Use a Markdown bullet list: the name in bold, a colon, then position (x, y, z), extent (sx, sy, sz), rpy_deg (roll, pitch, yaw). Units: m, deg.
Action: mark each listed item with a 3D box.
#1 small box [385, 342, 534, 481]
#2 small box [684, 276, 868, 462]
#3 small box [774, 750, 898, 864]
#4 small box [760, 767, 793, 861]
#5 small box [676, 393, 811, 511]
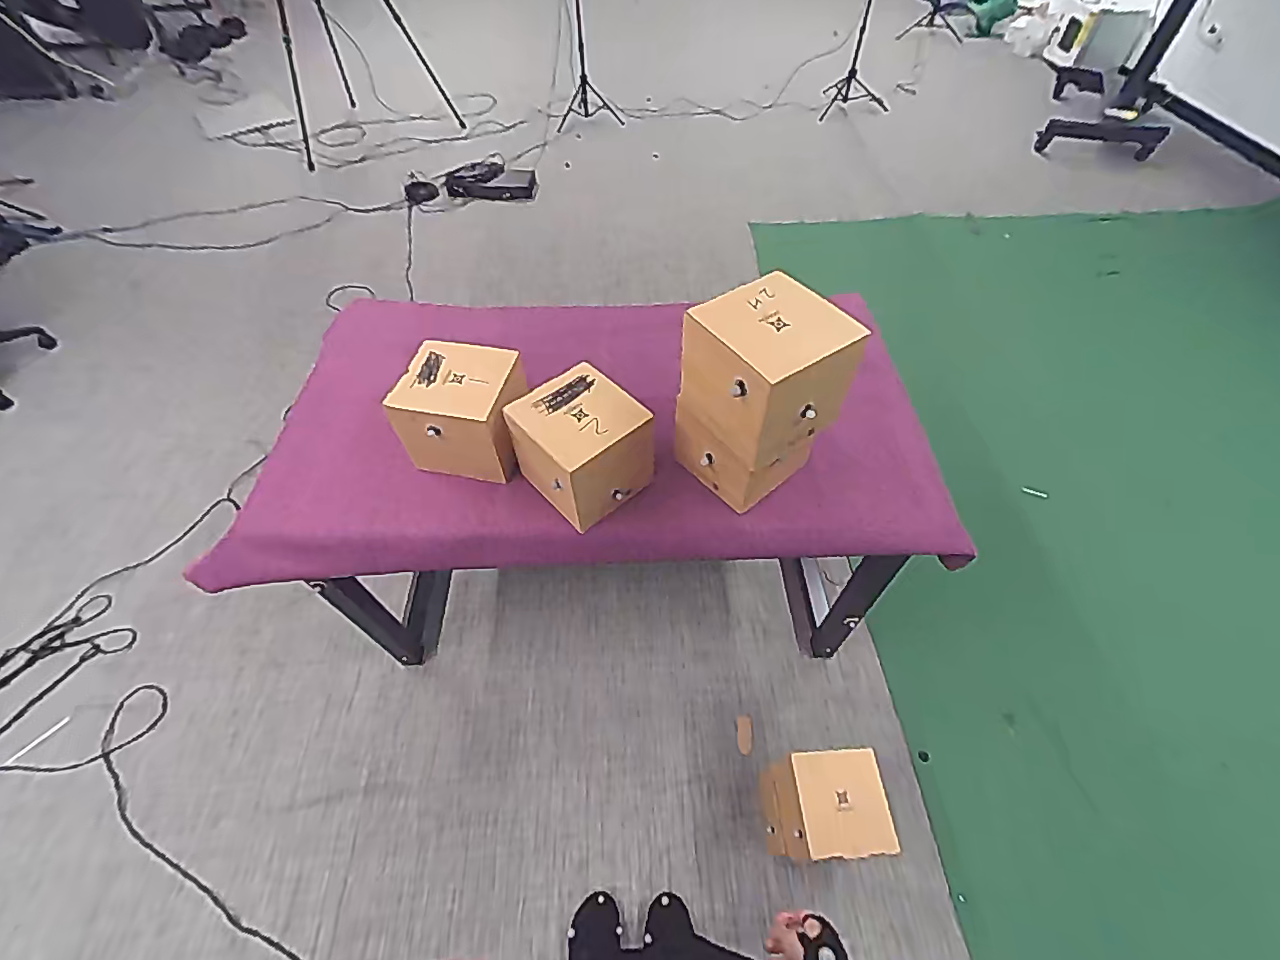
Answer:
- **small box**: position (-0.302, -0.116, 0.948), extent (0.179, 0.176, 0.168), rpy_deg (9, 54, 7)
- **small box**: position (0.176, -0.147, 0.757), extent (0.168, 0.176, 0.179), rpy_deg (-28, 56, -19)
- **small box**: position (0.374, 0.651, 1.073), extent (0.168, 0.176, 0.179), rpy_deg (-3, 55, -2)
- **small box**: position (0.370, 0.745, 1.204), extent (0.179, 0.176, 0.168), rpy_deg (0, 54, 0)
- **small box**: position (0.179, -0.079, 0.912), extent (0.179, 0.176, 0.168), rpy_deg (-35, 59, -22)
